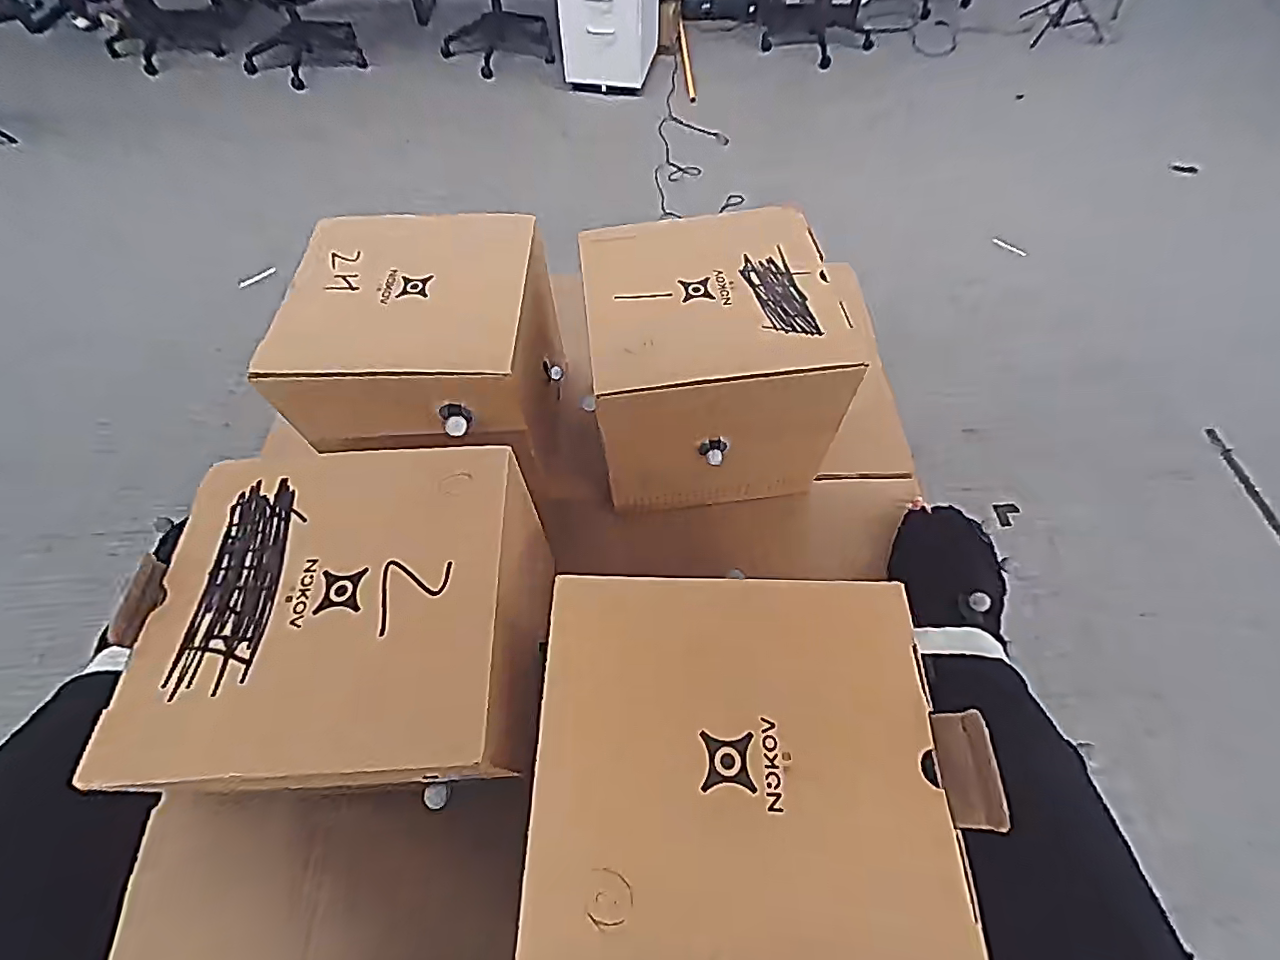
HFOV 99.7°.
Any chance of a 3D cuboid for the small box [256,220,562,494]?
[{"bbox_3d":[-0.169,-0.098,0.469,0.179,0.176,0.168,0,59,2],"label":"small box"}]
